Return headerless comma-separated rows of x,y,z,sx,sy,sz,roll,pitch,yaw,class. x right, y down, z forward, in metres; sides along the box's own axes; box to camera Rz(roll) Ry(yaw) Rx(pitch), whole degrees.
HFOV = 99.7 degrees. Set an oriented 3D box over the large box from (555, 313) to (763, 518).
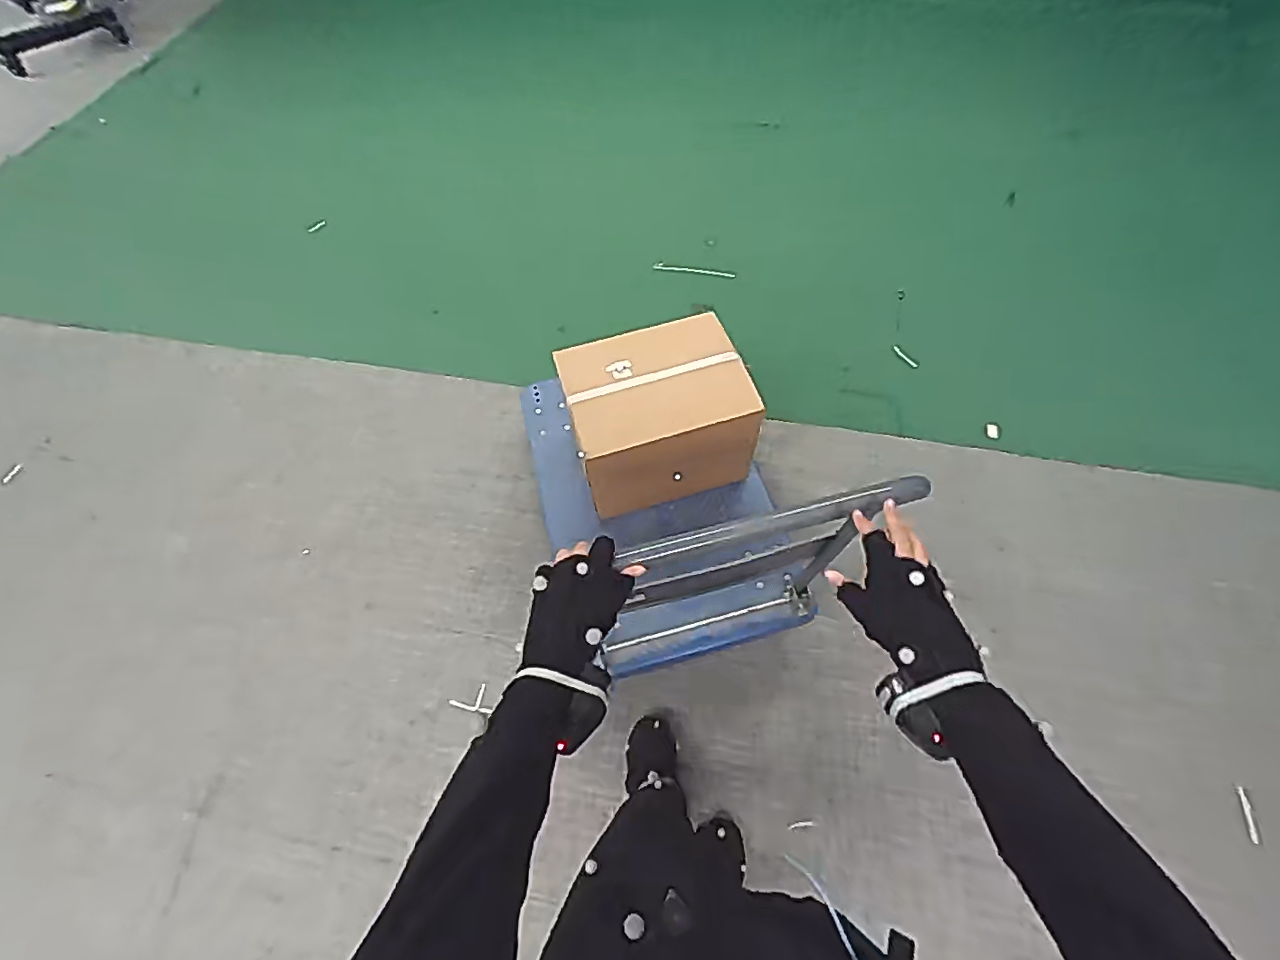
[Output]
0.044,-0.150,1.345,0.408,0.320,0.320,-17,61,-5,large box
